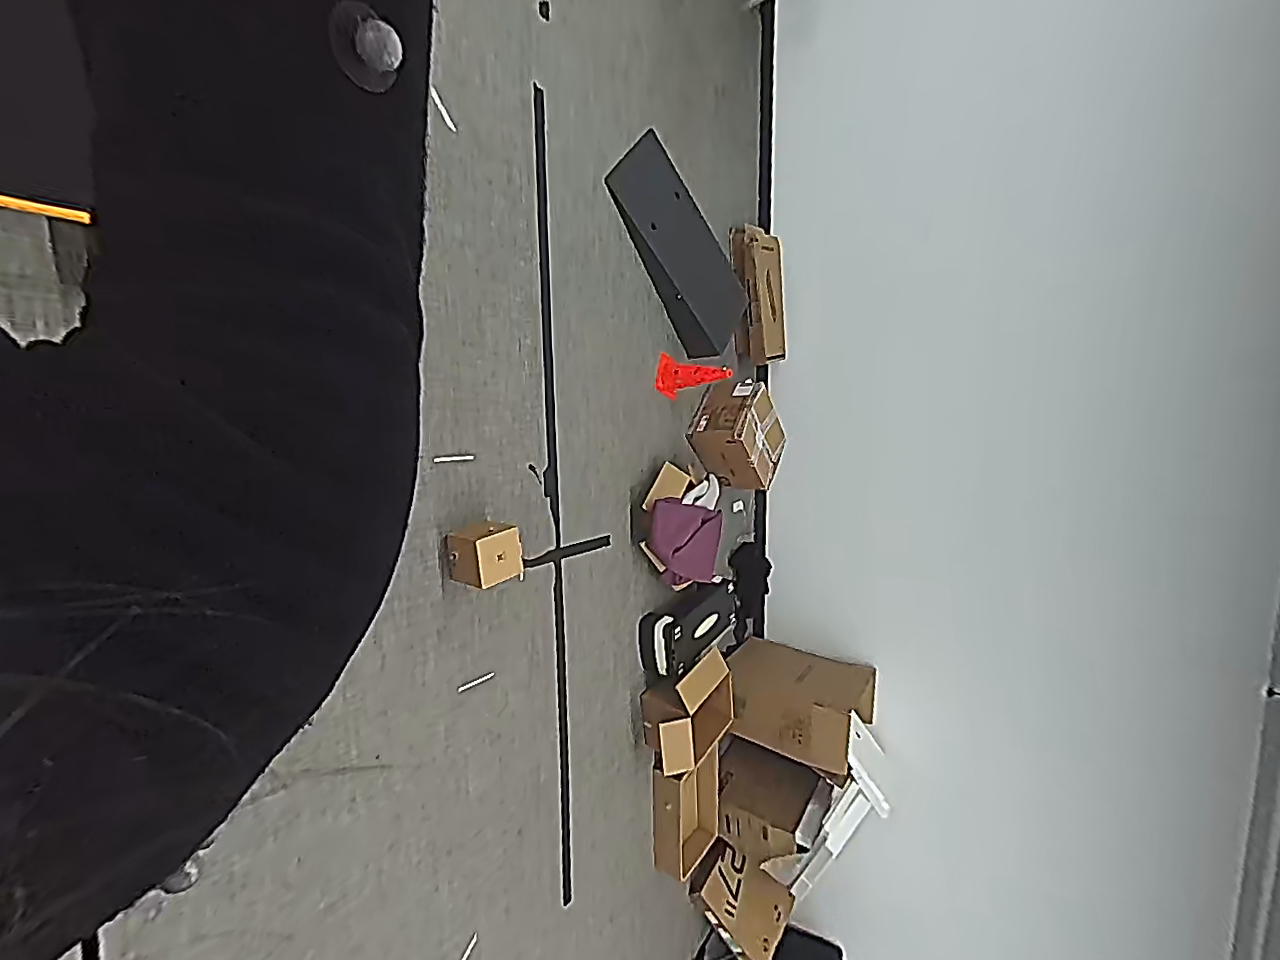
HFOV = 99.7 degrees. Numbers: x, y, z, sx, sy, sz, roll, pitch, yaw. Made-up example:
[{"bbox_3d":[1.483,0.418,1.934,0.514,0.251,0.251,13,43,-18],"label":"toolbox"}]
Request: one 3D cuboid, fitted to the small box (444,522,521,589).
[{"bbox_3d":[-0.525,0.245,1.805,0.179,0.176,0.168,-19,108,-50],"label":"small box"}]
